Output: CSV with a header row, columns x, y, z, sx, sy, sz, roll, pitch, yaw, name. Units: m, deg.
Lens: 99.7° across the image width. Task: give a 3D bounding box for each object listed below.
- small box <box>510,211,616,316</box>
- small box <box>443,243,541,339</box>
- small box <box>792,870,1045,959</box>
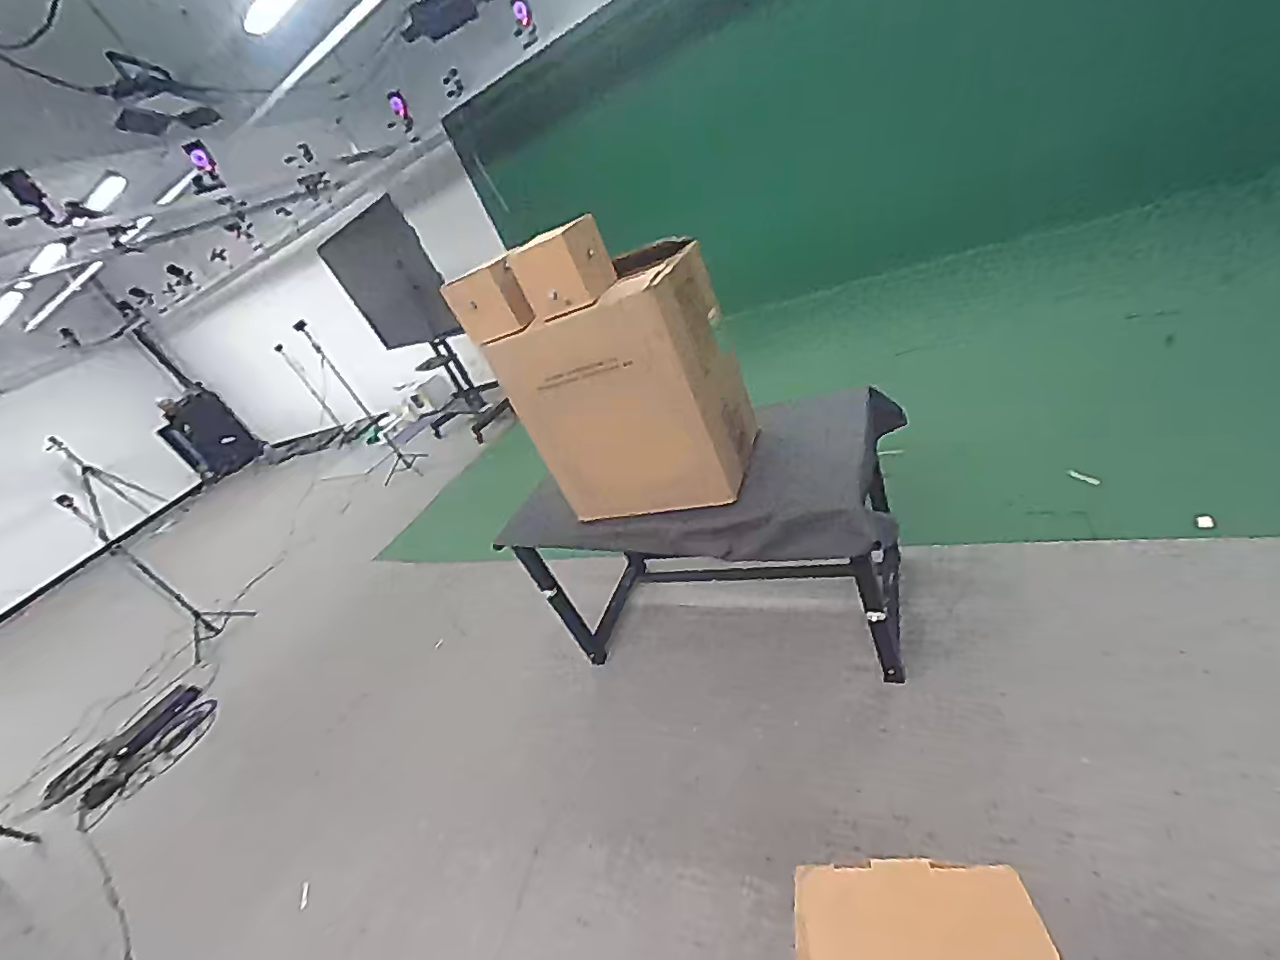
x,y,z,sx,sy,sz,roll,pitch,yaw,name
-0.178,-0.526,1.323,0.168,0.176,0.179,-7,35,29,small box
-0.371,-0.492,1.426,0.179,0.176,0.168,-8,34,30,small box
0.206,0.422,0.391,0.168,0.176,0.179,-6,28,7,small box
